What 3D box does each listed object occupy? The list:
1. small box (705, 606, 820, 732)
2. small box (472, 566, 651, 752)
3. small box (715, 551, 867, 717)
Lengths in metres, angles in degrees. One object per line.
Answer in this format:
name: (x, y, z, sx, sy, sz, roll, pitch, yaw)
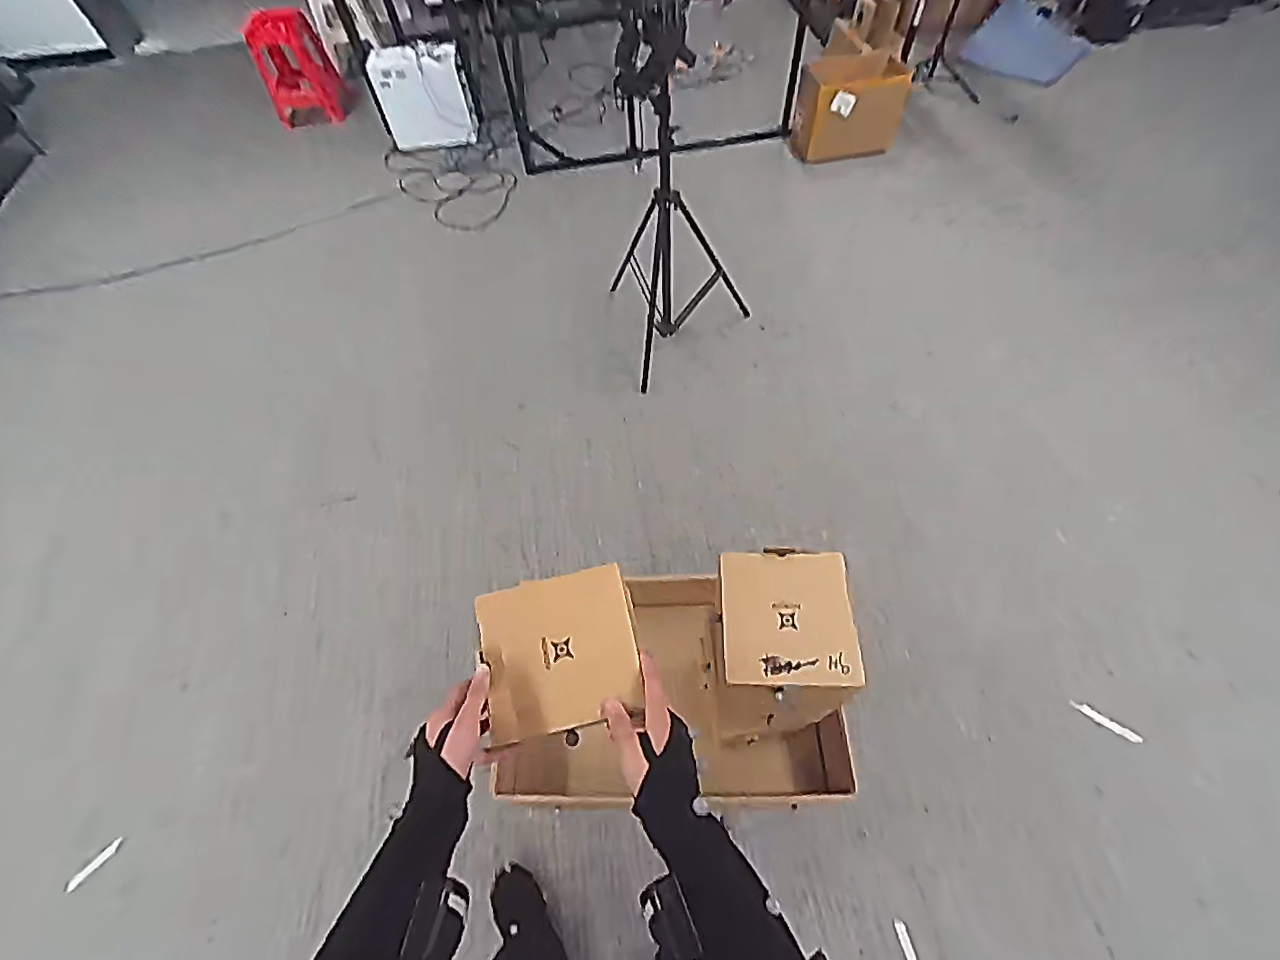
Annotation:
small box: (0.201, 0.305, 0.877, 0.179, 0.176, 0.168, -5, 57, 2)
small box: (-0.086, 0.220, 0.667, 0.179, 0.176, 0.168, -14, 67, -1)
small box: (0.191, 0.213, 0.741, 0.168, 0.176, 0.179, 0, 57, 5)
